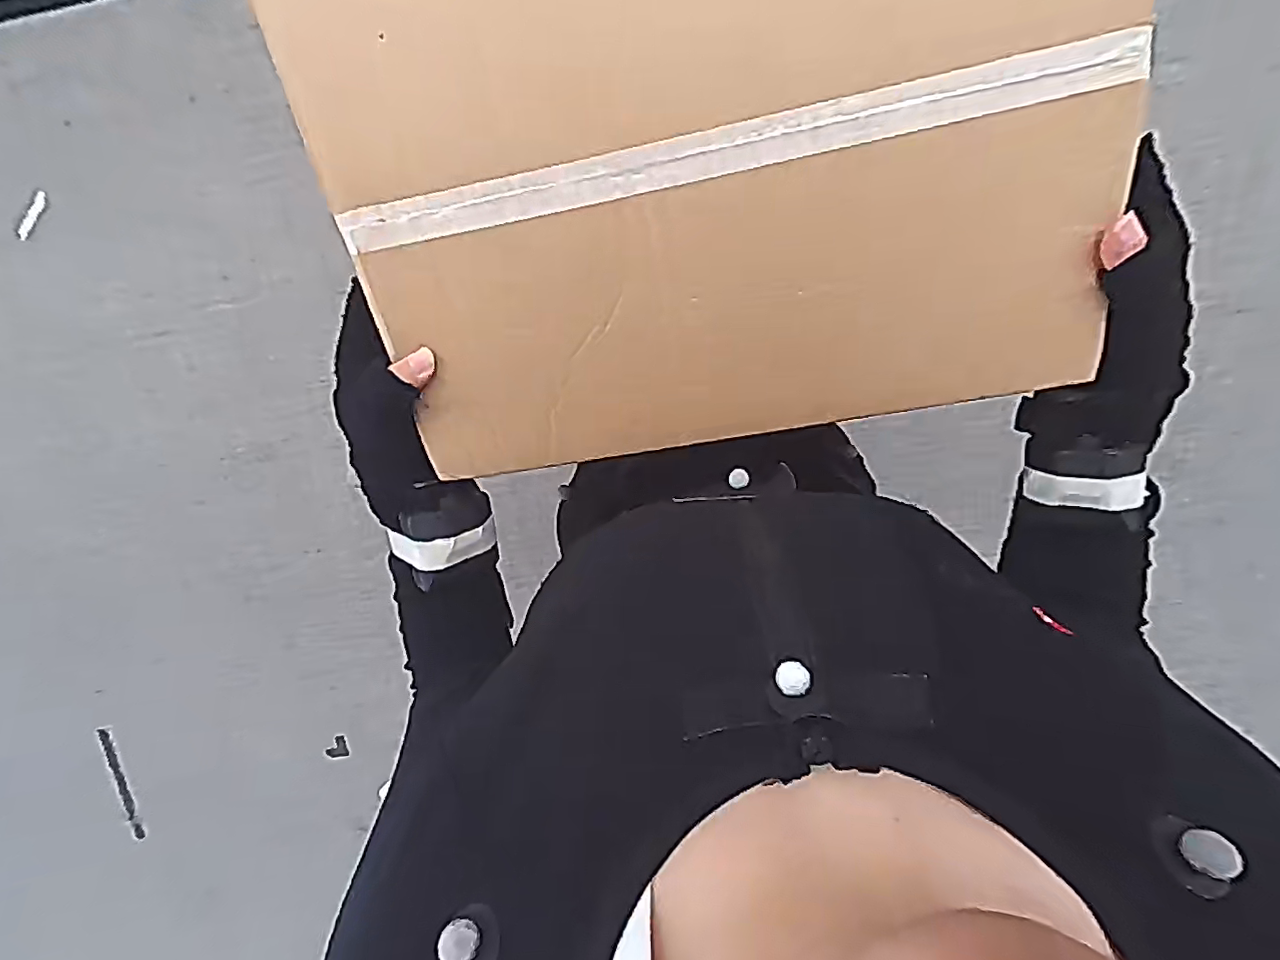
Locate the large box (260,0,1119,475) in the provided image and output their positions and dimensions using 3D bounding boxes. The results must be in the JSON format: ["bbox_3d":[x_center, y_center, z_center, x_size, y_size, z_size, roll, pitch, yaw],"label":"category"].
[{"bbox_3d":[0.038,-0.235,0.418,0.408,0.320,0.320,-9,115,7],"label":"large box"}]
